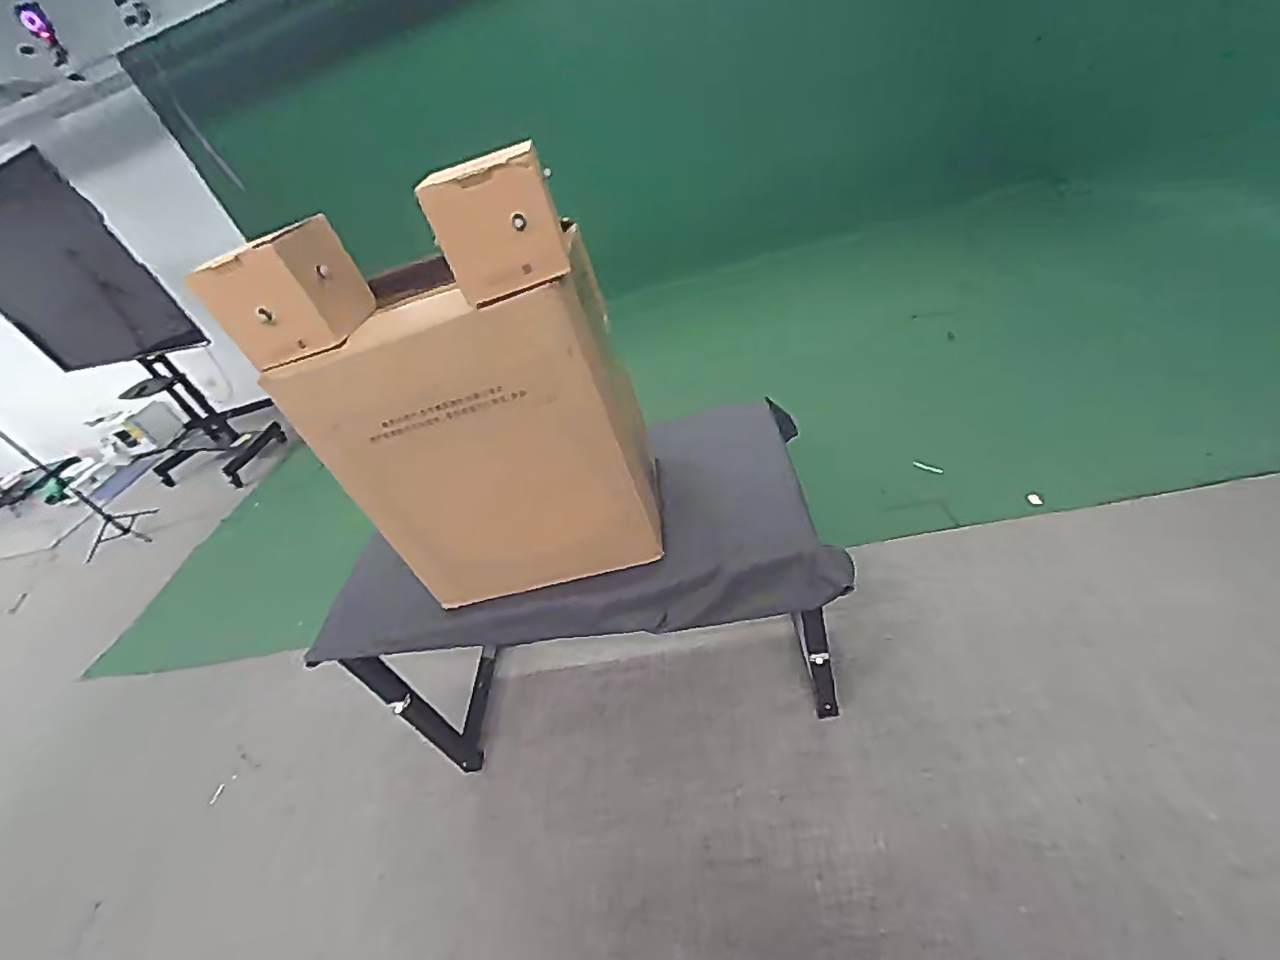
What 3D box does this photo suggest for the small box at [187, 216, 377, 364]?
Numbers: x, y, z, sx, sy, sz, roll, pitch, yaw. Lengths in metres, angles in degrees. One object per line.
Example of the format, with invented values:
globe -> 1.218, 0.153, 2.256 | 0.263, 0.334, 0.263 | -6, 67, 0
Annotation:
small box -> -0.581, -0.312, 0.909 | 0.168, 0.176, 0.179 | -14, 38, 10

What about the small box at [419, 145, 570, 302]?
small box -> -0.212, -0.393, 0.837 | 0.168, 0.176, 0.179 | -17, 36, 2
